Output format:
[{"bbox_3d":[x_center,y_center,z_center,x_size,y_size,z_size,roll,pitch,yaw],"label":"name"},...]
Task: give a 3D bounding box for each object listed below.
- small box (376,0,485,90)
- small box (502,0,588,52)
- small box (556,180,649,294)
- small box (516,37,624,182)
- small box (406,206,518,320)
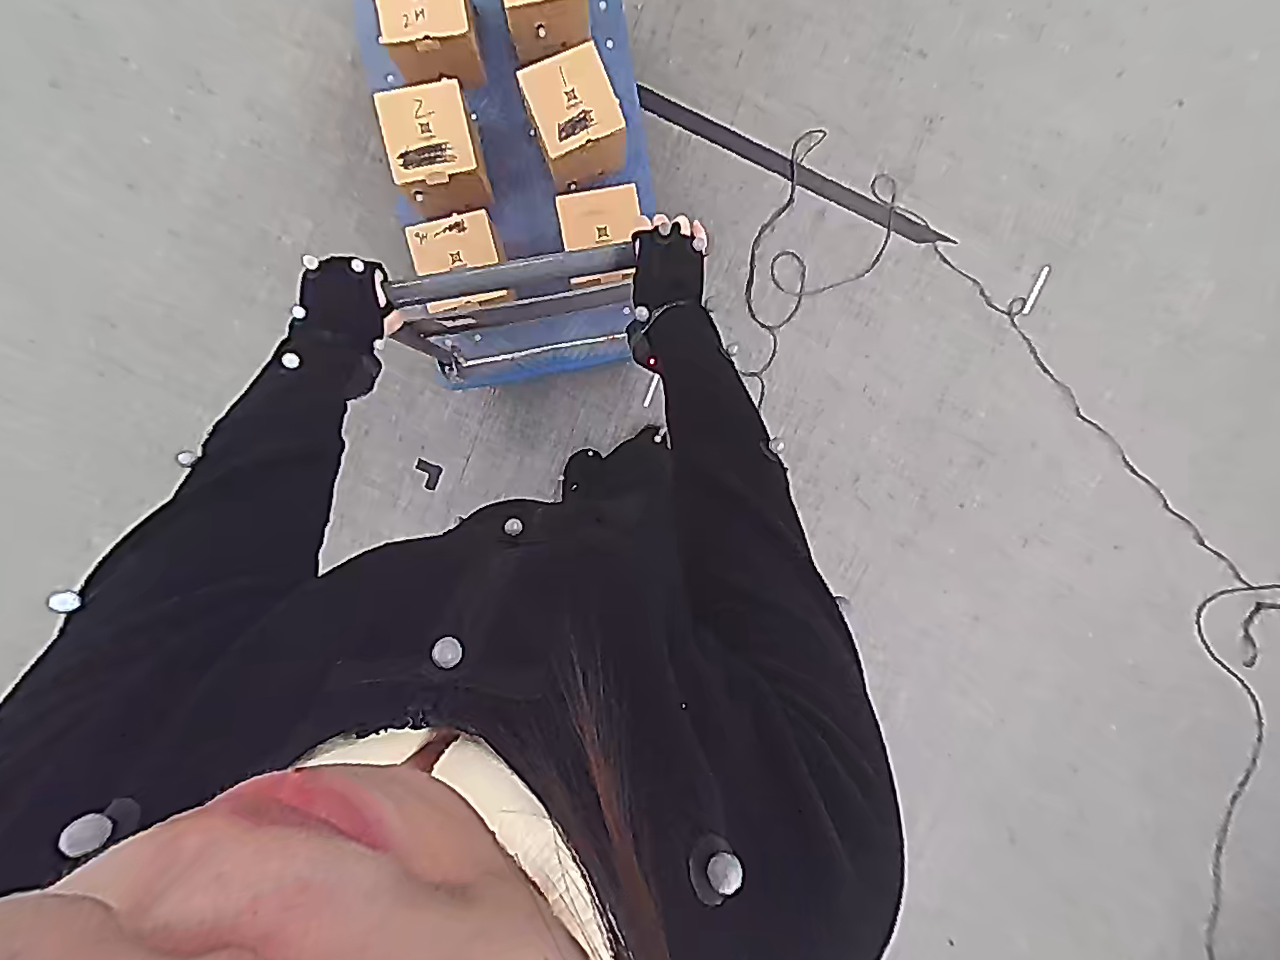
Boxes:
[{"bbox_3d":[-0.427,-0.944,1.102,0.168,0.176,0.179,-9,97,-2],"label":"small box"},{"bbox_3d":[-0.206,-1.025,1.109,0.168,0.176,0.179,-14,97,-2],"label":"small box"},{"bbox_3d":[-0.078,-0.513,1.170,0.168,0.176,0.179,-10,96,-3],"label":"small box"},{"bbox_3d":[-0.139,-0.762,1.139,0.168,0.176,0.179,-23,96,-1],"label":"small box"},{"bbox_3d":[-0.370,-0.451,1.158,0.168,0.176,0.179,-14,97,-3],"label":"small box"}]
